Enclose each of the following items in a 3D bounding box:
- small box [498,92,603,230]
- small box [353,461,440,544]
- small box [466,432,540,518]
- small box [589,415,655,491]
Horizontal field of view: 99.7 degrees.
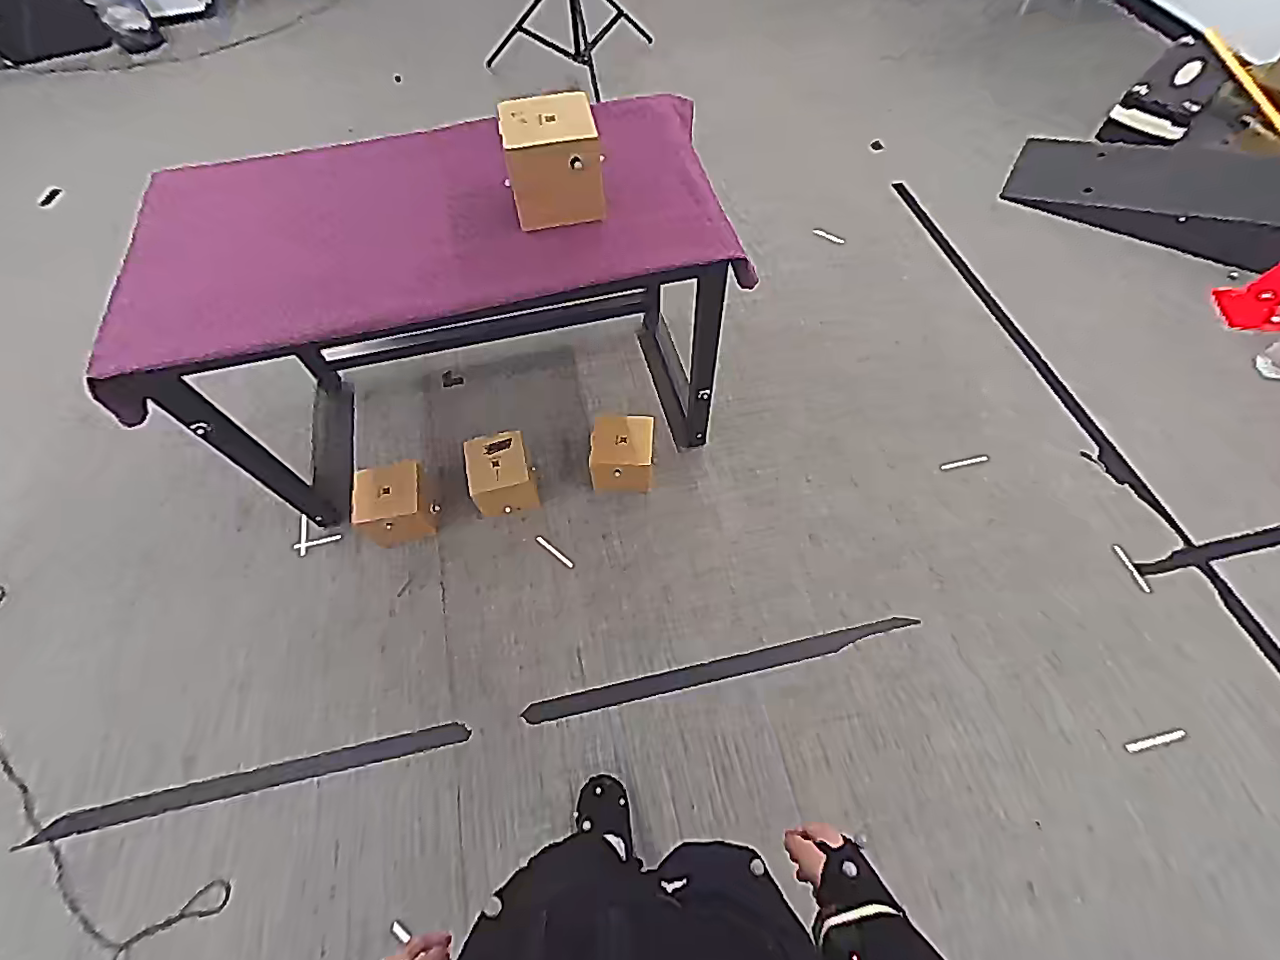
[{"bbox_3d":[-0.171,-0.629,1.076,0.179,0.176,0.168,-11,61,-4],"label":"small box"},{"bbox_3d":[-0.689,0.070,1.545,0.179,0.176,0.168,-11,63,-5],"label":"small box"},{"bbox_3d":[-0.396,-0.012,1.577,0.168,0.176,0.179,-14,63,-5],"label":"small box"},{"bbox_3d":[-0.047,-0.075,1.603,0.179,0.176,0.168,2,62,4],"label":"small box"}]
